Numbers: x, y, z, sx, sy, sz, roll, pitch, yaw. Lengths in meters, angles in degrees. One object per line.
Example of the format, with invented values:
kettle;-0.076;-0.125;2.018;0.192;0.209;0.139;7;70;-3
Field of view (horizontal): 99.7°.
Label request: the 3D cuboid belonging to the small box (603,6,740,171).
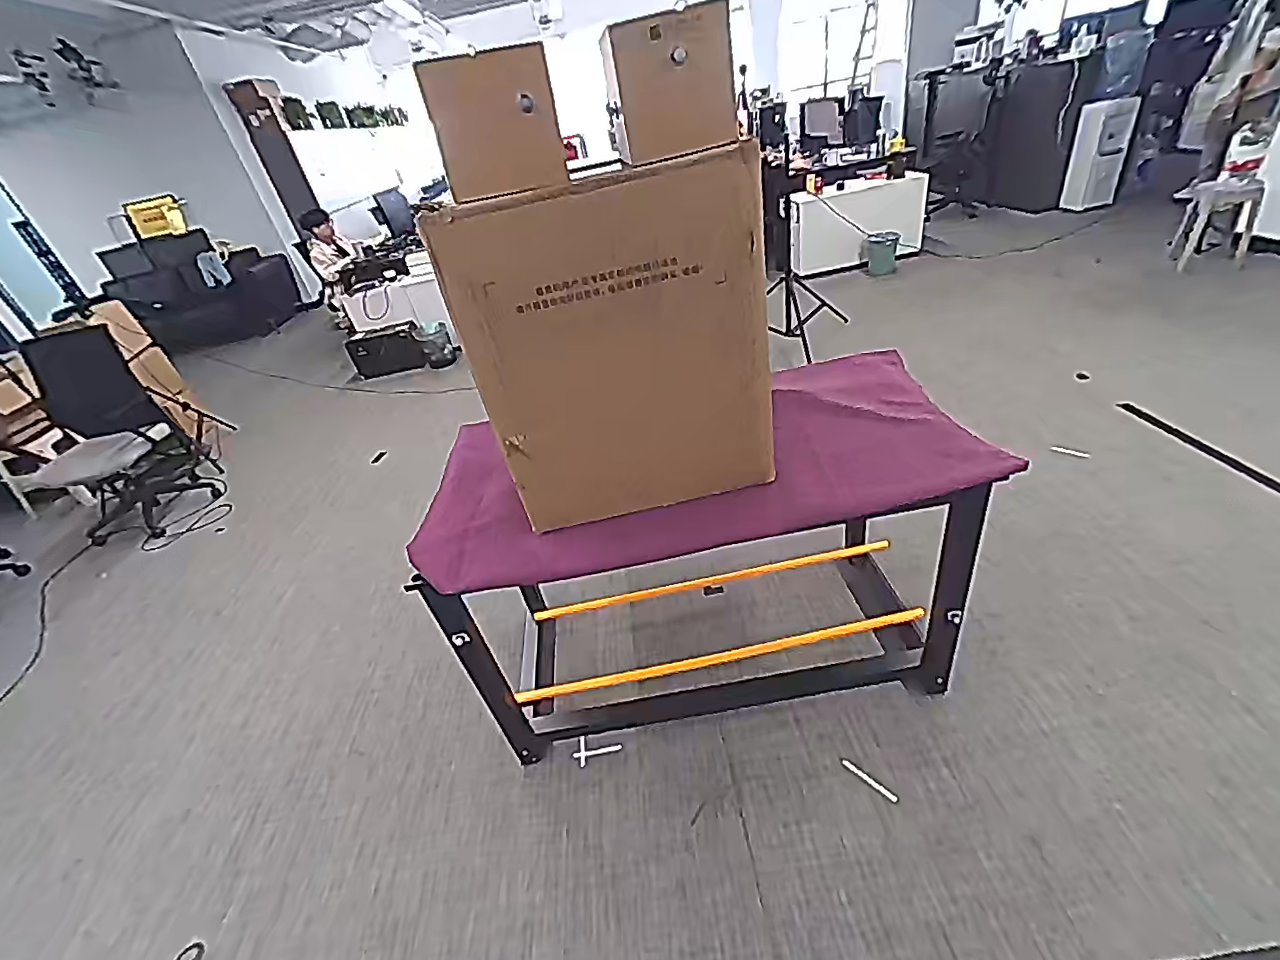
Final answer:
small box;0.044;-0.587;0.819;0.168;0.176;0.179;-14;34;0
